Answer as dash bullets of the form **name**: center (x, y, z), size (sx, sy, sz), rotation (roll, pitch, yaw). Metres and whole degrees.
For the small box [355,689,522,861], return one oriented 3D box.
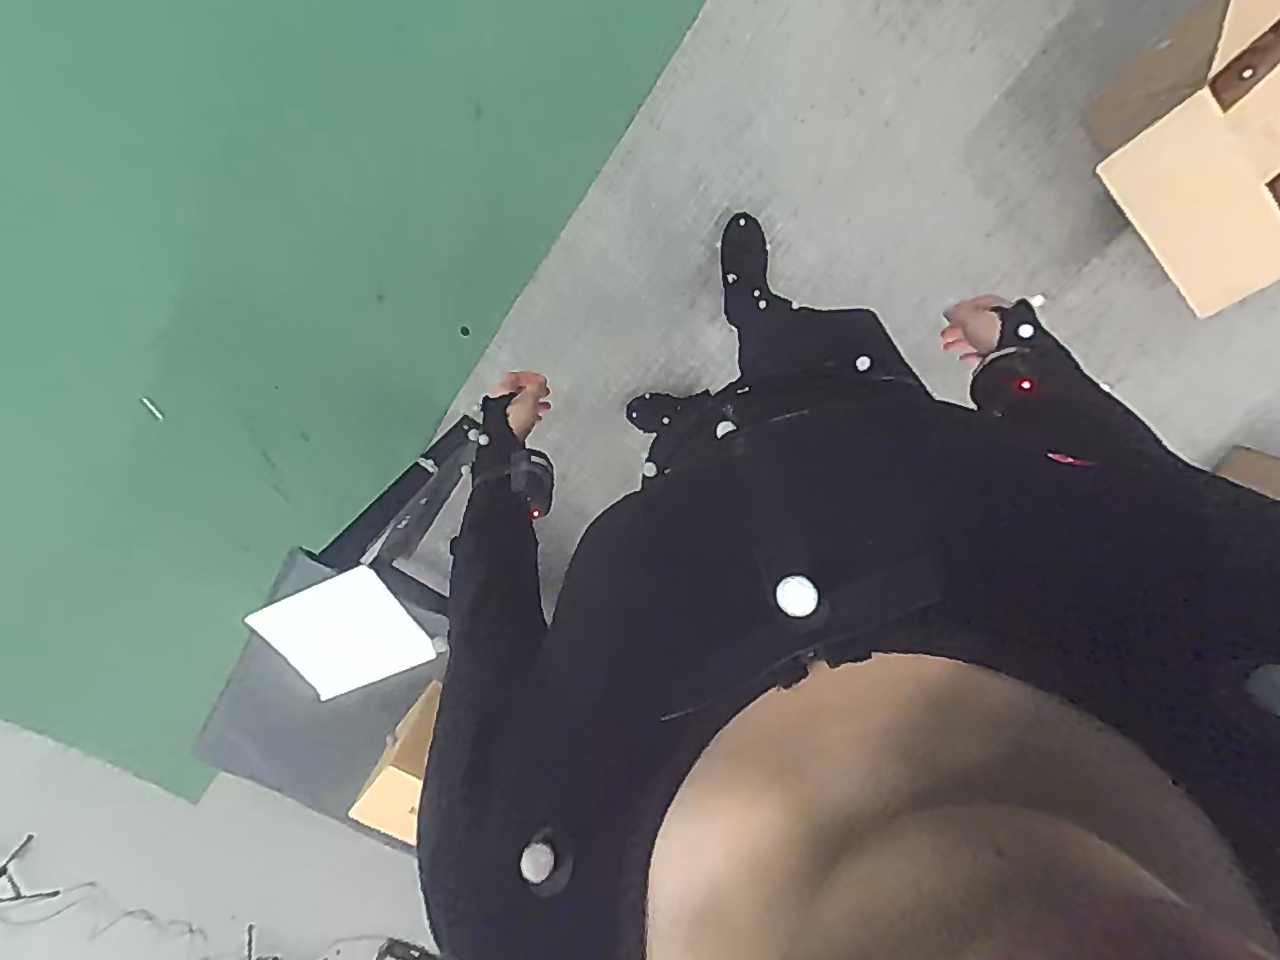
- **small box**: center (-0.327, 0.484, 0.907), size (0.179, 0.176, 0.168), rotation (34, 114, -13)
